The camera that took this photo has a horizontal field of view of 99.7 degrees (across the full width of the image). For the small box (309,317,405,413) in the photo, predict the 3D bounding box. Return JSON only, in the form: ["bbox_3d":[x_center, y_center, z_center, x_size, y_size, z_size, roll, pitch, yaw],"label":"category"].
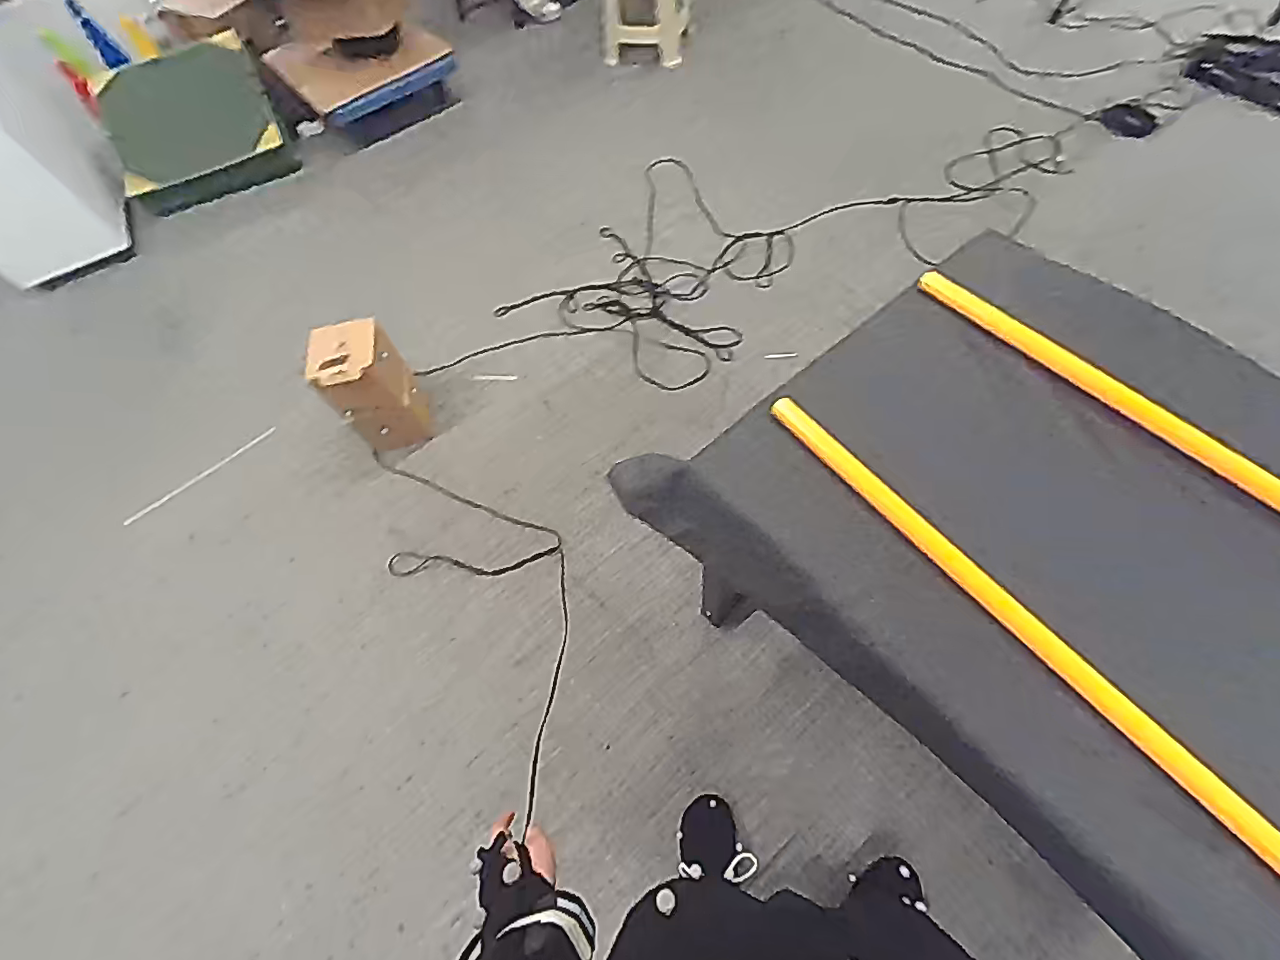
[{"bbox_3d":[-0.736,-0.295,1.427,0.168,0.176,0.179,-12,61,-2],"label":"small box"}]

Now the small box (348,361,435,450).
[{"bbox_3d":[-0.718,-0.211,1.568,0.179,0.176,0.168,-17,62,-4],"label":"small box"}]
